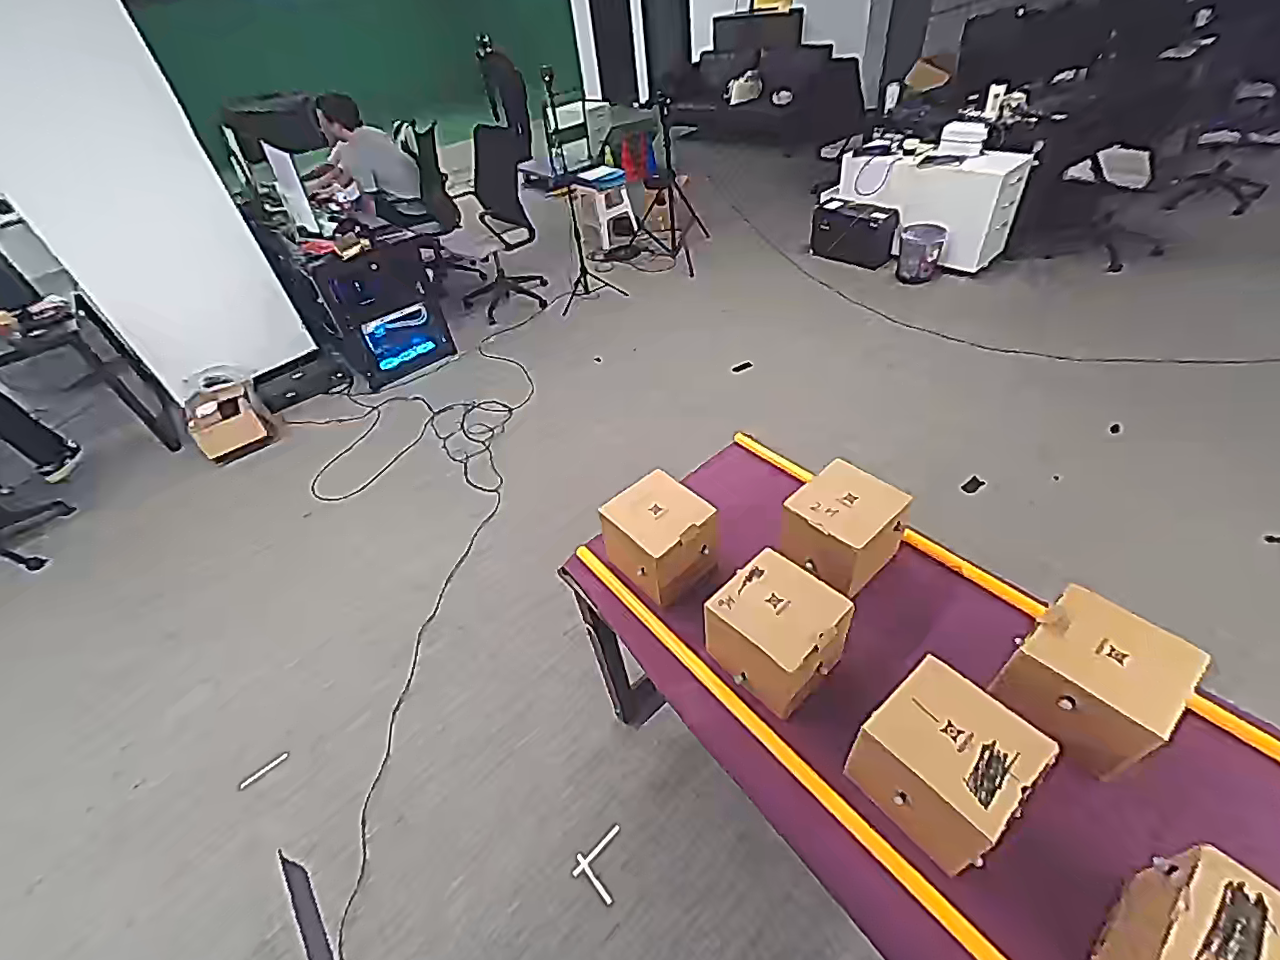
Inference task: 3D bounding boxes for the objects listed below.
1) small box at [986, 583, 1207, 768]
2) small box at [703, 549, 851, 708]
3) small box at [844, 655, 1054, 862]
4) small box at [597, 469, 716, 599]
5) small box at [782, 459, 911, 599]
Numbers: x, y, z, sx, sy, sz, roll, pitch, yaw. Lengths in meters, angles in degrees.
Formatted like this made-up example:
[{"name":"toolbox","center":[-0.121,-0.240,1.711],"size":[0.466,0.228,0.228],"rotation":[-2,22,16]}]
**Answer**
[{"name":"small box","center":[0.665,0.297,0.808],"size":[0.168,0.176,0.179],"rotation":[-35,48,-23]},{"name":"small box","center":[0.227,0.259,0.923],"size":[0.168,0.176,0.179],"rotation":[-35,50,-25]},{"name":"small box","center":[0.413,0.390,0.752],"size":[0.168,0.176,0.179],"rotation":[-31,46,-24]},{"name":"small box","center":[0.038,0.117,1.100],"size":[0.168,0.176,0.179],"rotation":[-34,51,-25]},{"name":"small box","center":[0.393,0.096,1.064],"size":[0.179,0.176,0.168],"rotation":[-35,49,-22]}]
